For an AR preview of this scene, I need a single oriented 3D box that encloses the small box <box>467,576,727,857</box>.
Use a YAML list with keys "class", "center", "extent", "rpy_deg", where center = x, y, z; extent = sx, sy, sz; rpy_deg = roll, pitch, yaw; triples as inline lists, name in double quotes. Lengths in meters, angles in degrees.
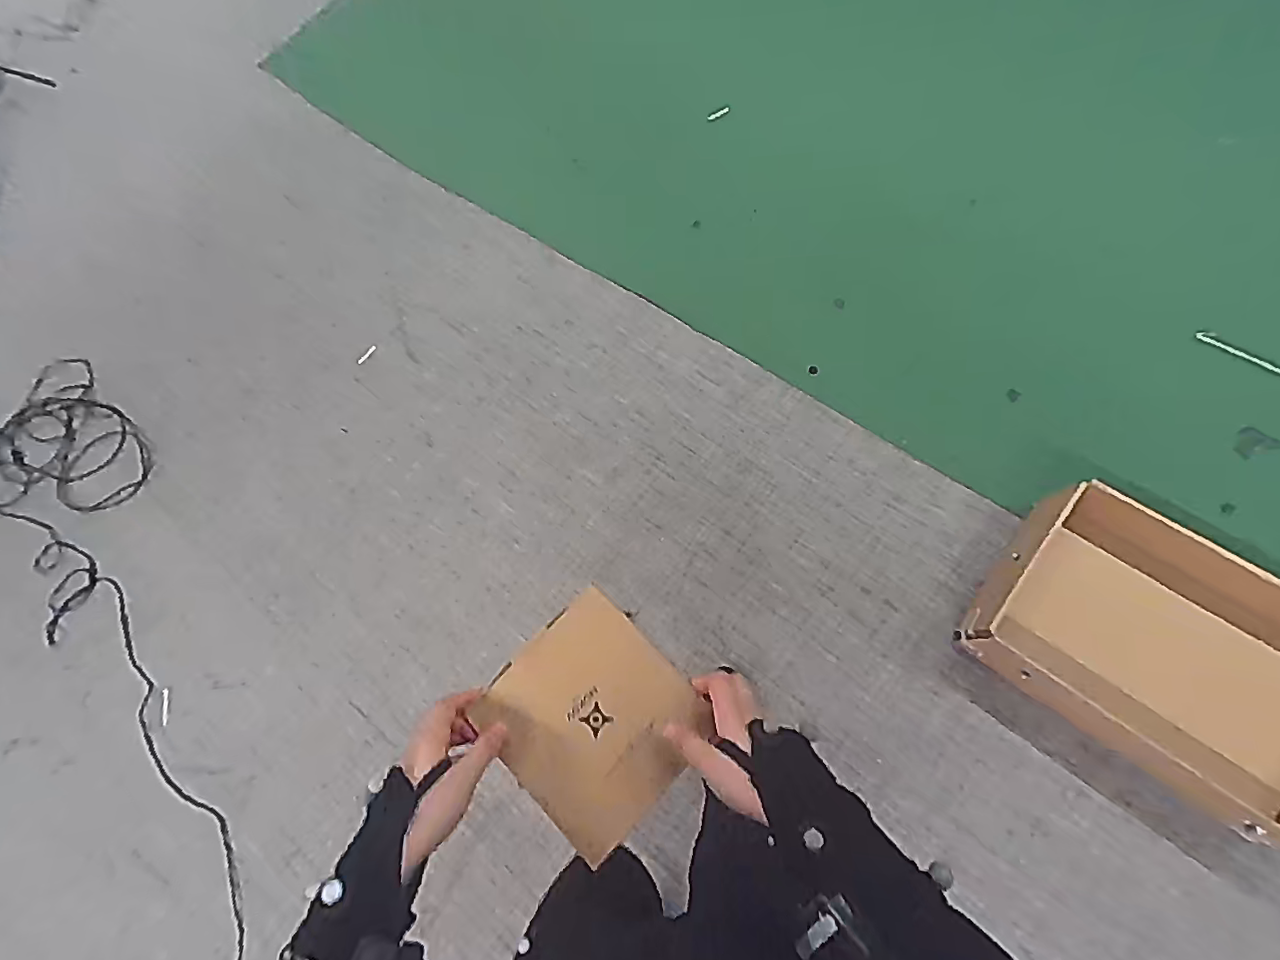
- class: "small box"
  center: [-0.039, 0.224, 0.556]
  extent: [0.179, 0.176, 0.168]
  rpy_deg: [43, 80, 11]
